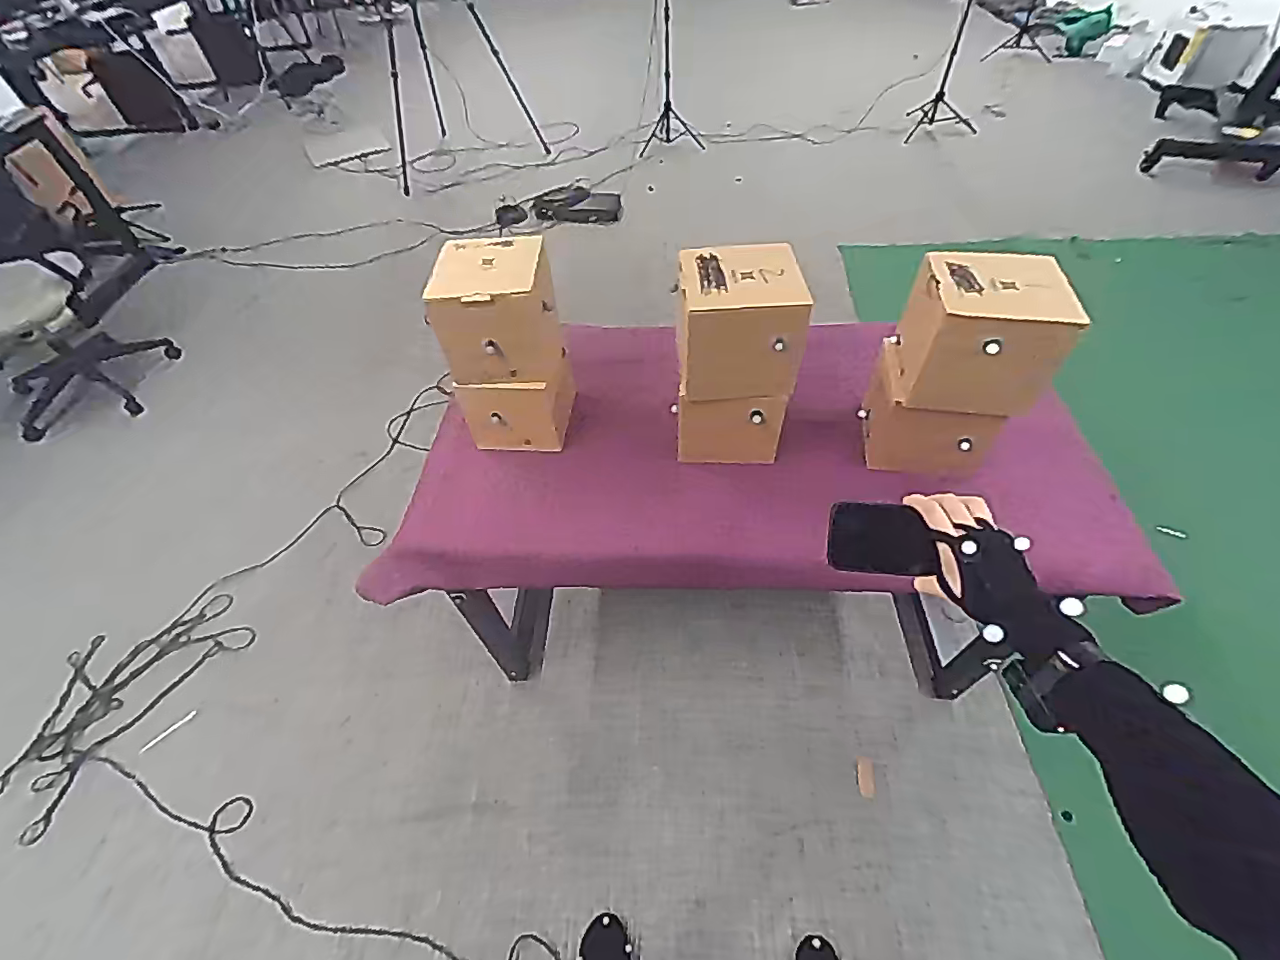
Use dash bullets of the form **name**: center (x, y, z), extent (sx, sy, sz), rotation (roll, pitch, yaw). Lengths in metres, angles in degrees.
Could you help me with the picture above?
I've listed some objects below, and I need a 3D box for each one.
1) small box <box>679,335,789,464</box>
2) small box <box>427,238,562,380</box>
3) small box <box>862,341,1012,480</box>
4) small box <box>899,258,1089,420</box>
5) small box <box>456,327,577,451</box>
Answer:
- **small box**: center (0.164, -0.142, 0.981), extent (0.179, 0.176, 0.168), rotation (2, 51, 6)
- **small box**: center (-0.231, -0.281, 0.909), extent (0.168, 0.176, 0.179), rotation (-1, 52, 2)
- **small box**: center (0.501, -0.117, 0.941), extent (0.179, 0.176, 0.168), rotation (7, 52, 10)
- **small box**: center (0.500, -0.207, 0.803), extent (0.179, 0.176, 0.168), rotation (7, 52, 9)
- **small box**: center (-0.223, -0.172, 1.032), extent (0.168, 0.176, 0.179), rotation (3, 51, 6)
